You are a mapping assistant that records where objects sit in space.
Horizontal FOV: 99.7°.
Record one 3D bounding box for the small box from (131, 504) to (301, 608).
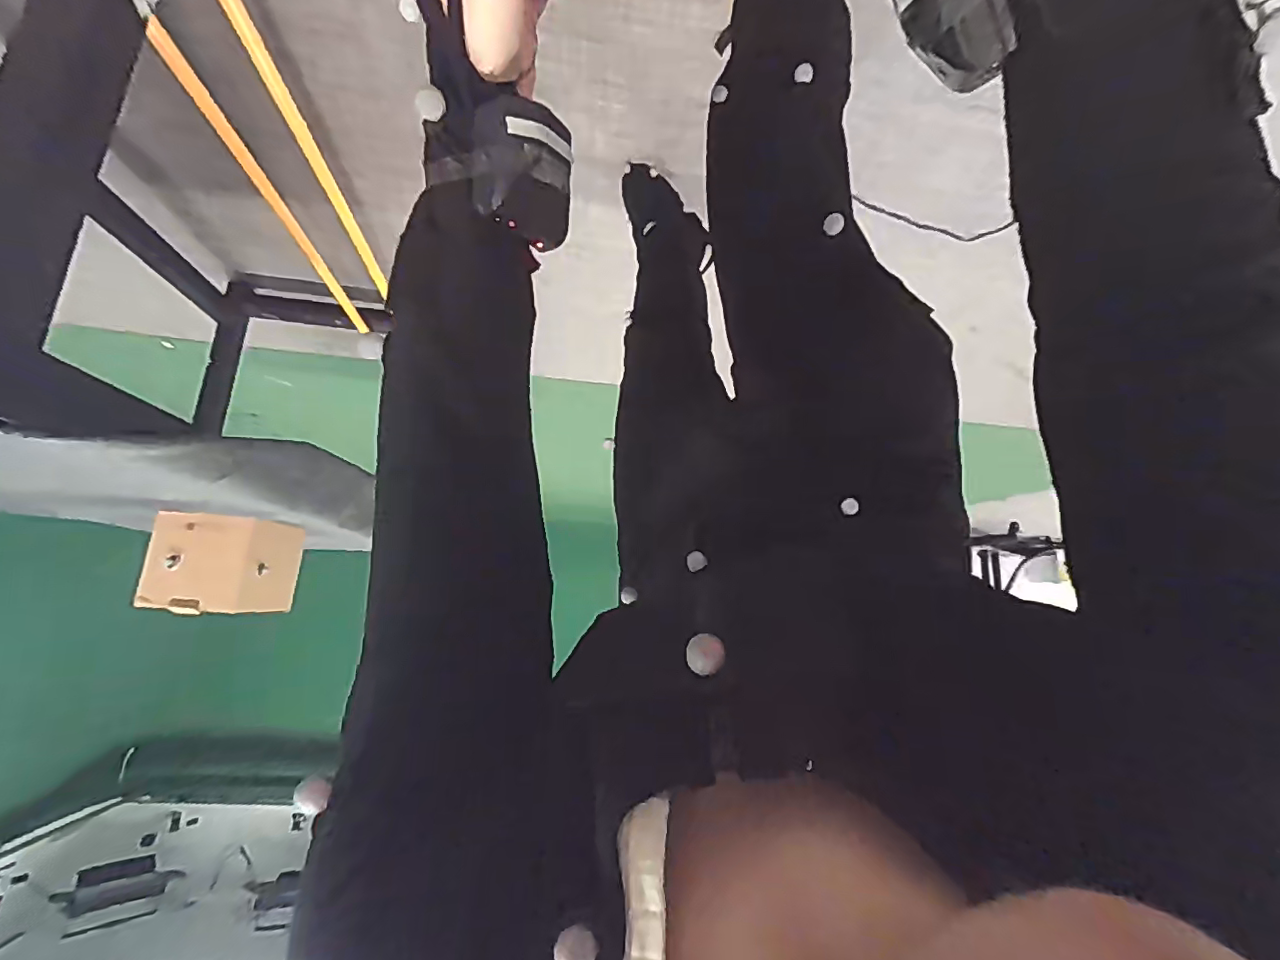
[{"bbox_3d":[-0.762,0.142,0.993,0.168,0.176,0.179,6,168,-3],"label":"small box"}]
